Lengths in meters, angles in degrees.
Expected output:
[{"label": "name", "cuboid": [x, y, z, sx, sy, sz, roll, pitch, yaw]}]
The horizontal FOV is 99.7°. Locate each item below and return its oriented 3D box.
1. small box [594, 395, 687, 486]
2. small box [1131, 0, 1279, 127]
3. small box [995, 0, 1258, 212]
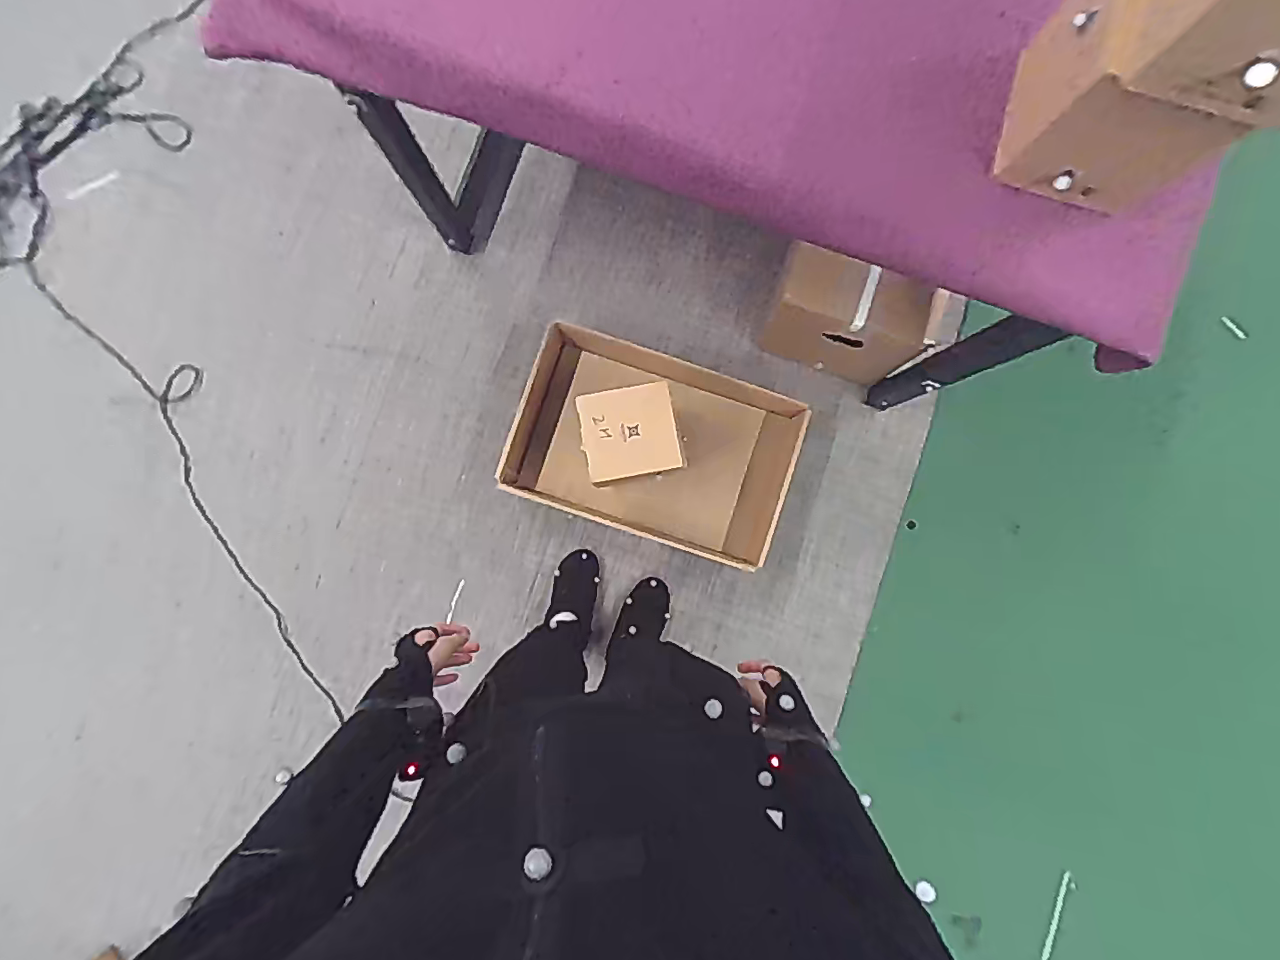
[{"label": "small box", "cuboid": [0.002, -0.082, 1.232, 0.179, 0.176, 0.168, -12, 87, -1]}, {"label": "small box", "cuboid": [0.536, -0.424, 0.413, 0.168, 0.176, 0.179, 16, 86, 2]}, {"label": "small box", "cuboid": [0.522, -0.430, 0.578, 0.168, 0.176, 0.179, 16, 86, 2]}]
